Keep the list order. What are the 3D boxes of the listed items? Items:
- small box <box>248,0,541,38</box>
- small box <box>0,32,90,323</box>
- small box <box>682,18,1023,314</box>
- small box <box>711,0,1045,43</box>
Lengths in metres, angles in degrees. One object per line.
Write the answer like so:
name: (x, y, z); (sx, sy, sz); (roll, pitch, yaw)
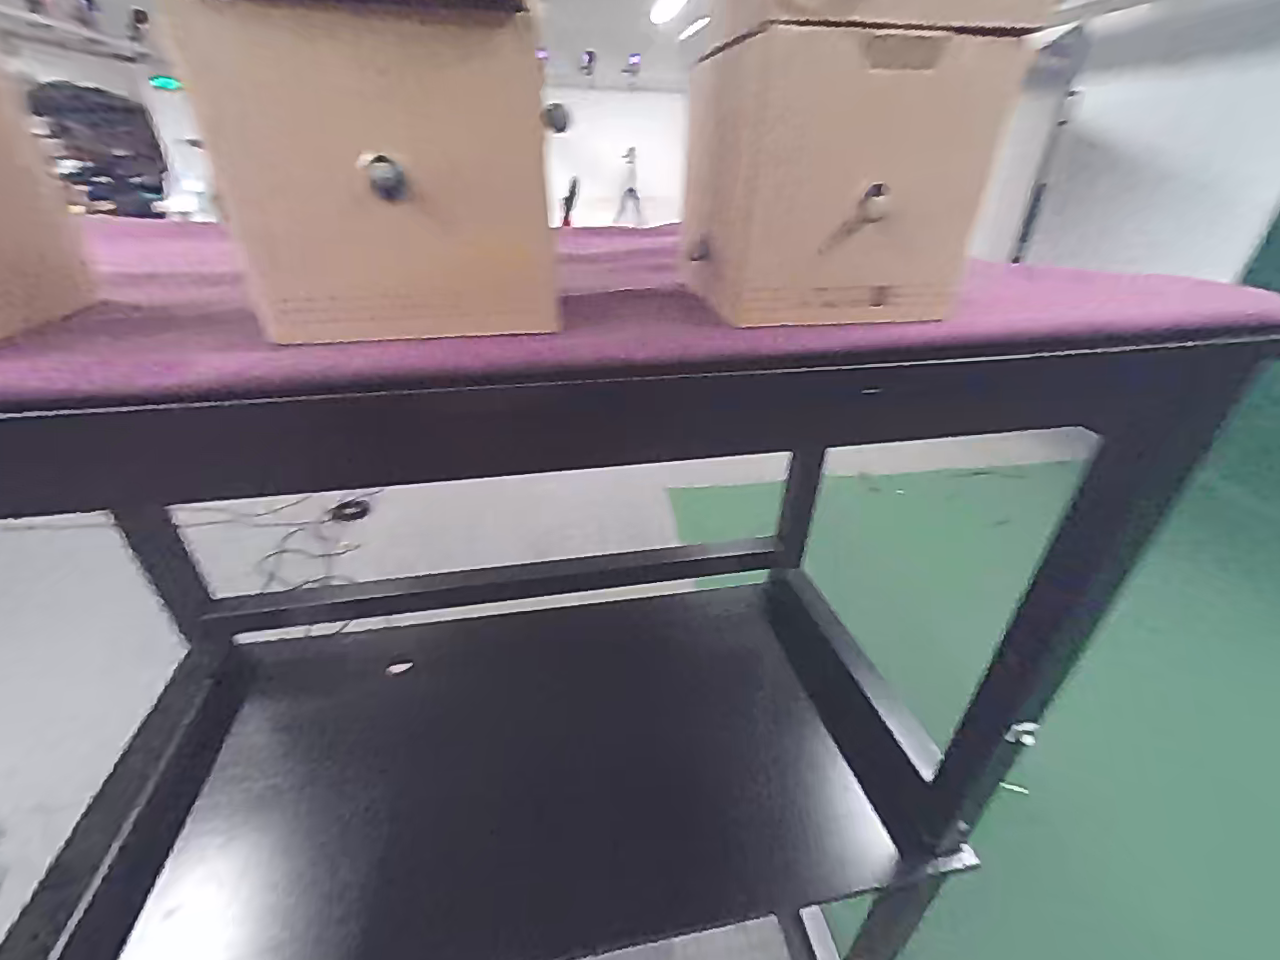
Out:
small box: (-0.142, -0.344, 0.277); (0.168, 0.176, 0.179); (-3, 32, -7)
small box: (-0.470, -0.171, 0.297); (0.168, 0.176, 0.179); (-6, 31, -14)
small box: (0.132, -0.230, 0.417); (0.168, 0.176, 0.179); (-4, 32, -9)
small box: (0.144, -0.370, 0.333); (0.168, 0.176, 0.179); (-4, 32, -6)
